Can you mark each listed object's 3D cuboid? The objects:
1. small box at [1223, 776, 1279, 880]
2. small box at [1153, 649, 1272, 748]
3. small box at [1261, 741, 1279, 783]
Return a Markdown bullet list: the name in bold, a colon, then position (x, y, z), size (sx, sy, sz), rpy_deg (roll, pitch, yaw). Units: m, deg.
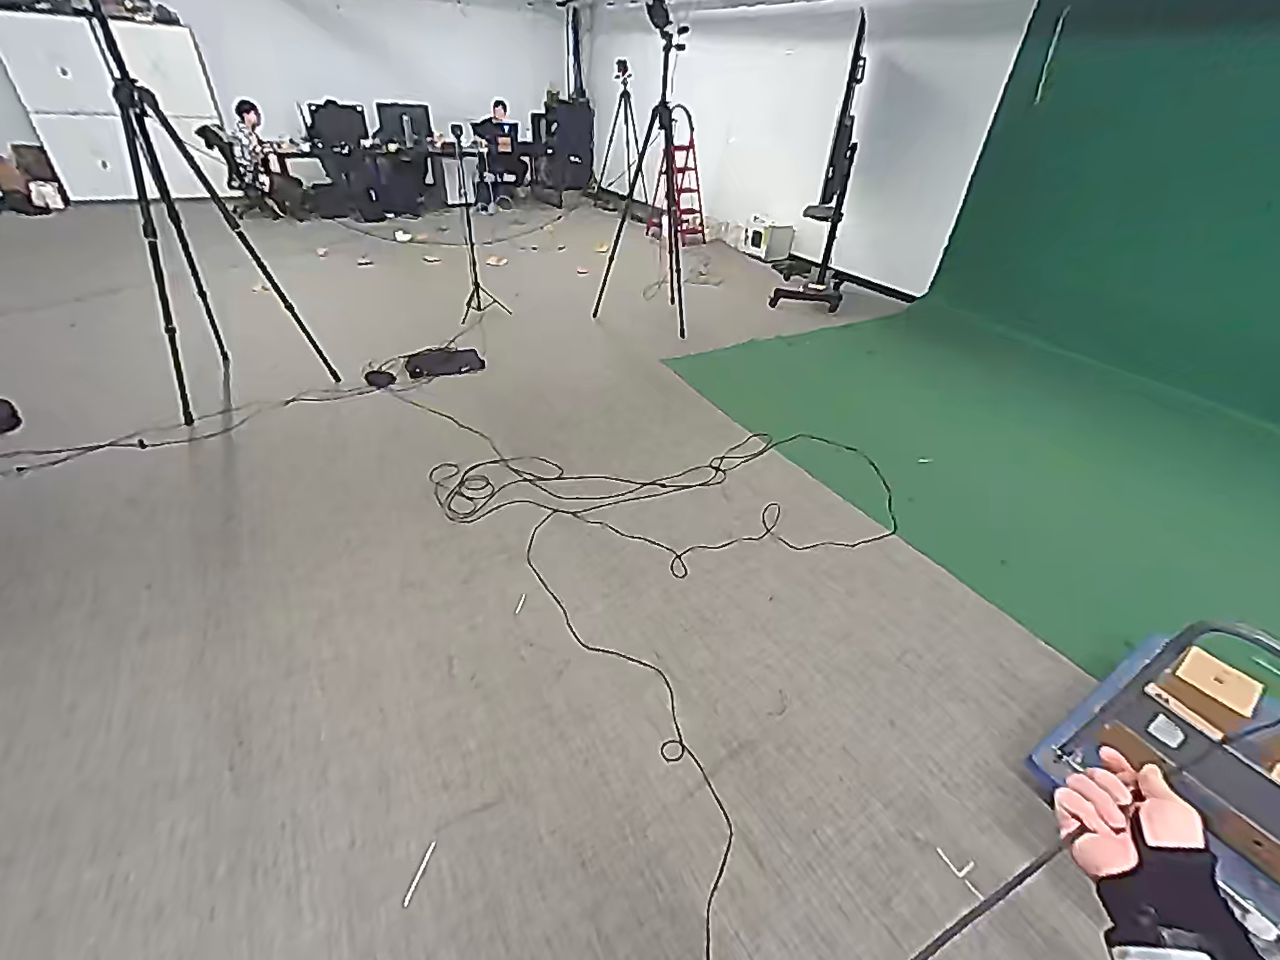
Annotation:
- **small box**: position (1.581, 0.843, 1.300), size (0.179, 0.176, 0.168), rpy_deg (-19, 41, -25)
- **small box**: position (1.662, 0.640, 1.580), size (0.179, 0.176, 0.168), rpy_deg (-21, 43, -29)
- **small box**: position (1.810, 0.765, 1.419), size (0.179, 0.176, 0.168), rpy_deg (-22, 42, -29)
